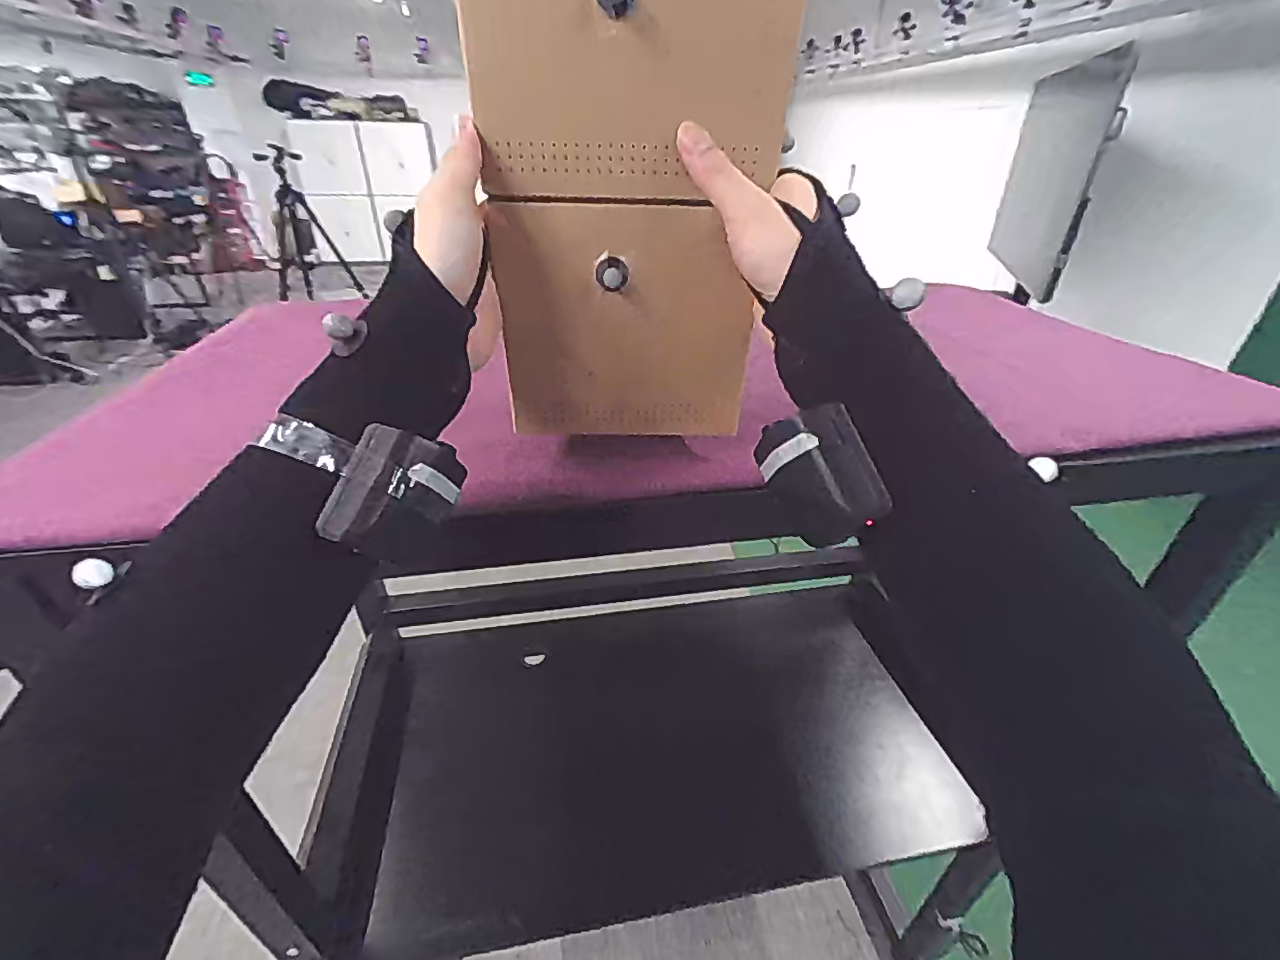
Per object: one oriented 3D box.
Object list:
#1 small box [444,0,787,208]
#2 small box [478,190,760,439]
[{"bbox_3d":[-0.011,-0.274,0.336,0.179,0.176,0.168,-1,37,-1],"label":"small box"},{"bbox_3d":[-0.013,-0.144,0.437,0.179,0.176,0.168,0,38,-1],"label":"small box"}]
